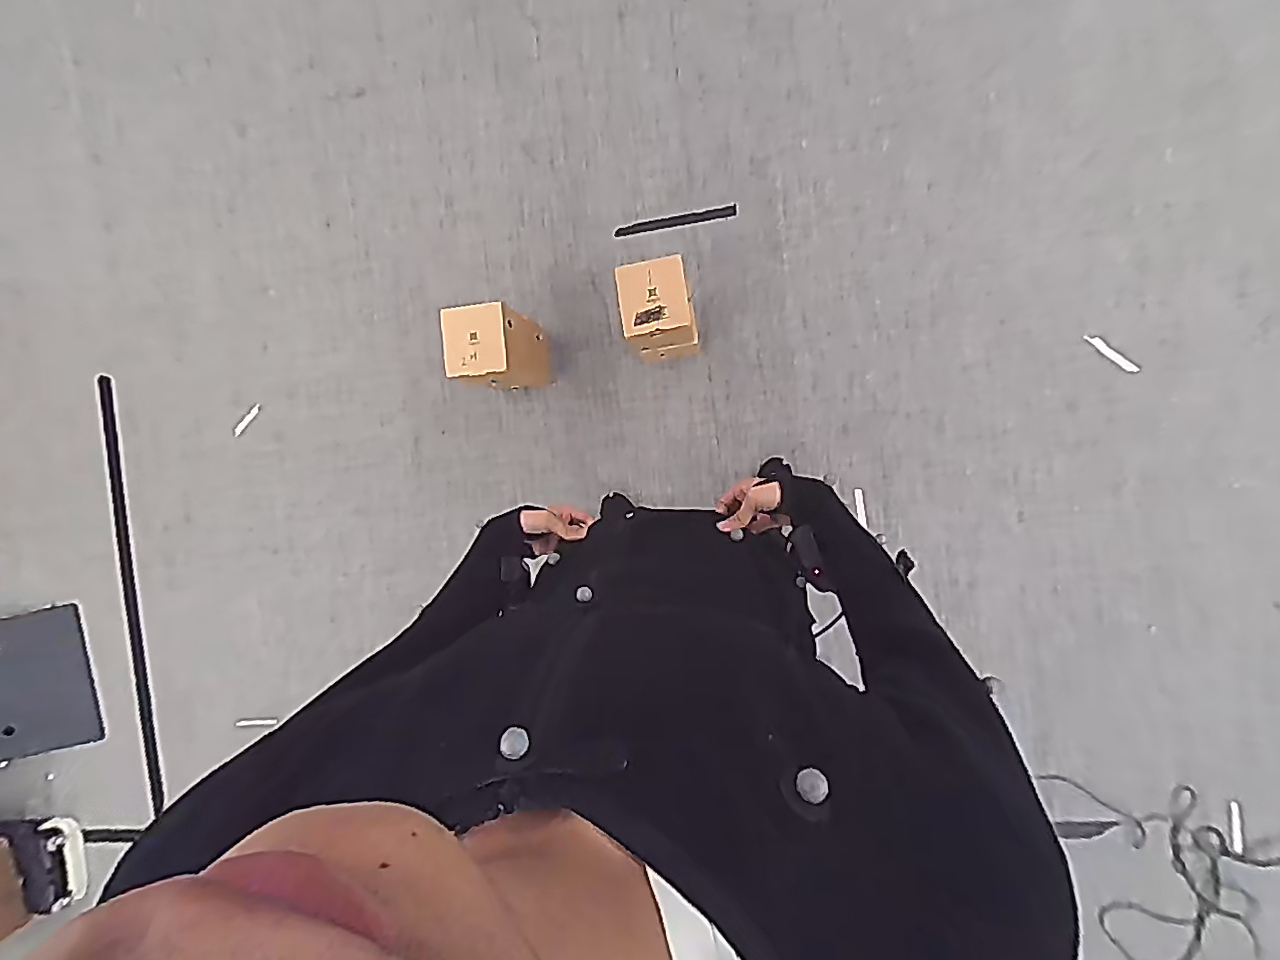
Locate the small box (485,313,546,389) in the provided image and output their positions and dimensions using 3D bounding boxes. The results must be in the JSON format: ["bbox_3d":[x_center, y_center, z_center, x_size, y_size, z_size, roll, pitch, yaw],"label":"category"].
[{"bbox_3d":[-0.381,-0.371,1.579,0.168,0.176,0.179,-4,91,8],"label":"small box"}]

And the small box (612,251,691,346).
[{"bbox_3d":[0.034,-0.445,1.360,0.168,0.176,0.179,-9,89,7],"label":"small box"}]

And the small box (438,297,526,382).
[{"bbox_3d":[-0.409,-0.361,1.417,0.168,0.176,0.179,-4,92,8],"label":"small box"}]

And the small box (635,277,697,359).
[{"bbox_3d":[0.066,-0.445,1.522,0.168,0.176,0.179,-9,90,7],"label":"small box"}]
